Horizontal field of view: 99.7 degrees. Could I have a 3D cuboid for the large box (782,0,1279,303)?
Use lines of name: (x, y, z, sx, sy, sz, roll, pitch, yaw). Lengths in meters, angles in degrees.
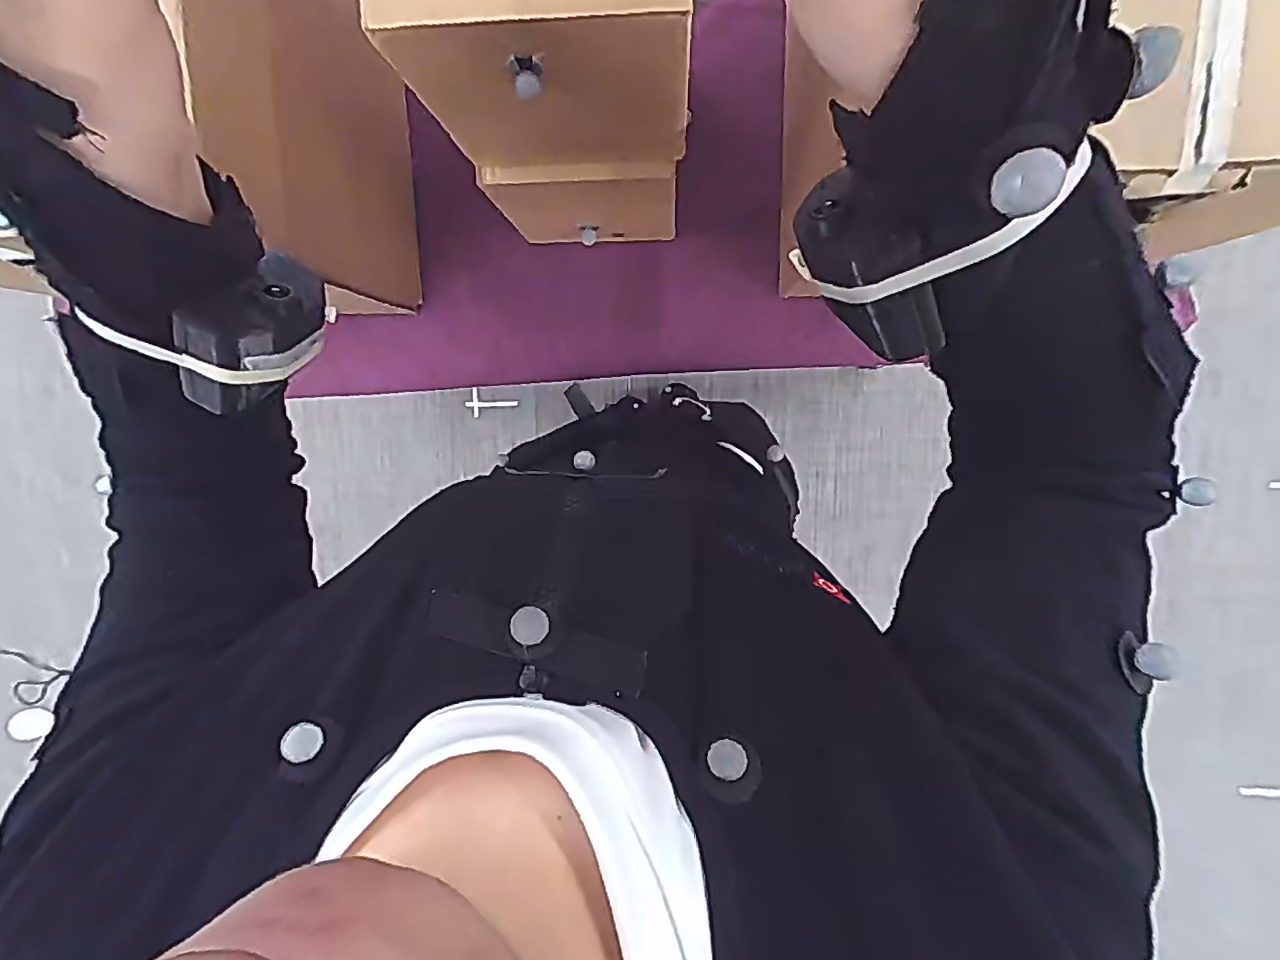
large box: (0.289, -0.377, 0.414, 0.320, 0.320, 0.408, -1, 97, 3)
